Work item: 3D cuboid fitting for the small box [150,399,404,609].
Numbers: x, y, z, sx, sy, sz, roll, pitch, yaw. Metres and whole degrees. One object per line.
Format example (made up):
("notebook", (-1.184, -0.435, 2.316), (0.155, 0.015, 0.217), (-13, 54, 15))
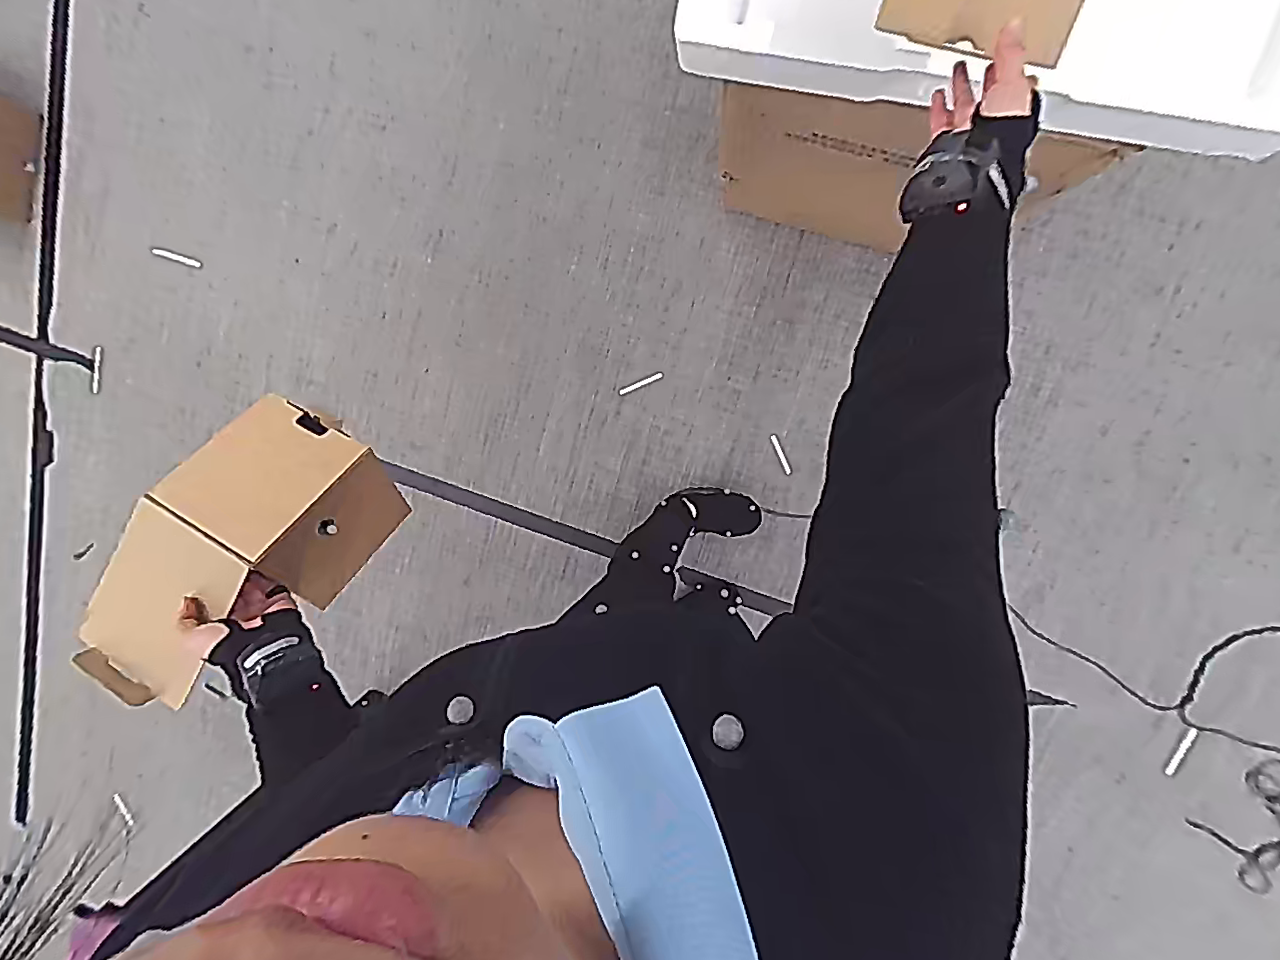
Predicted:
("small box", (-0.437, 0.037, 0.689), (0.168, 0.176, 0.179), (27, 60, 12))
